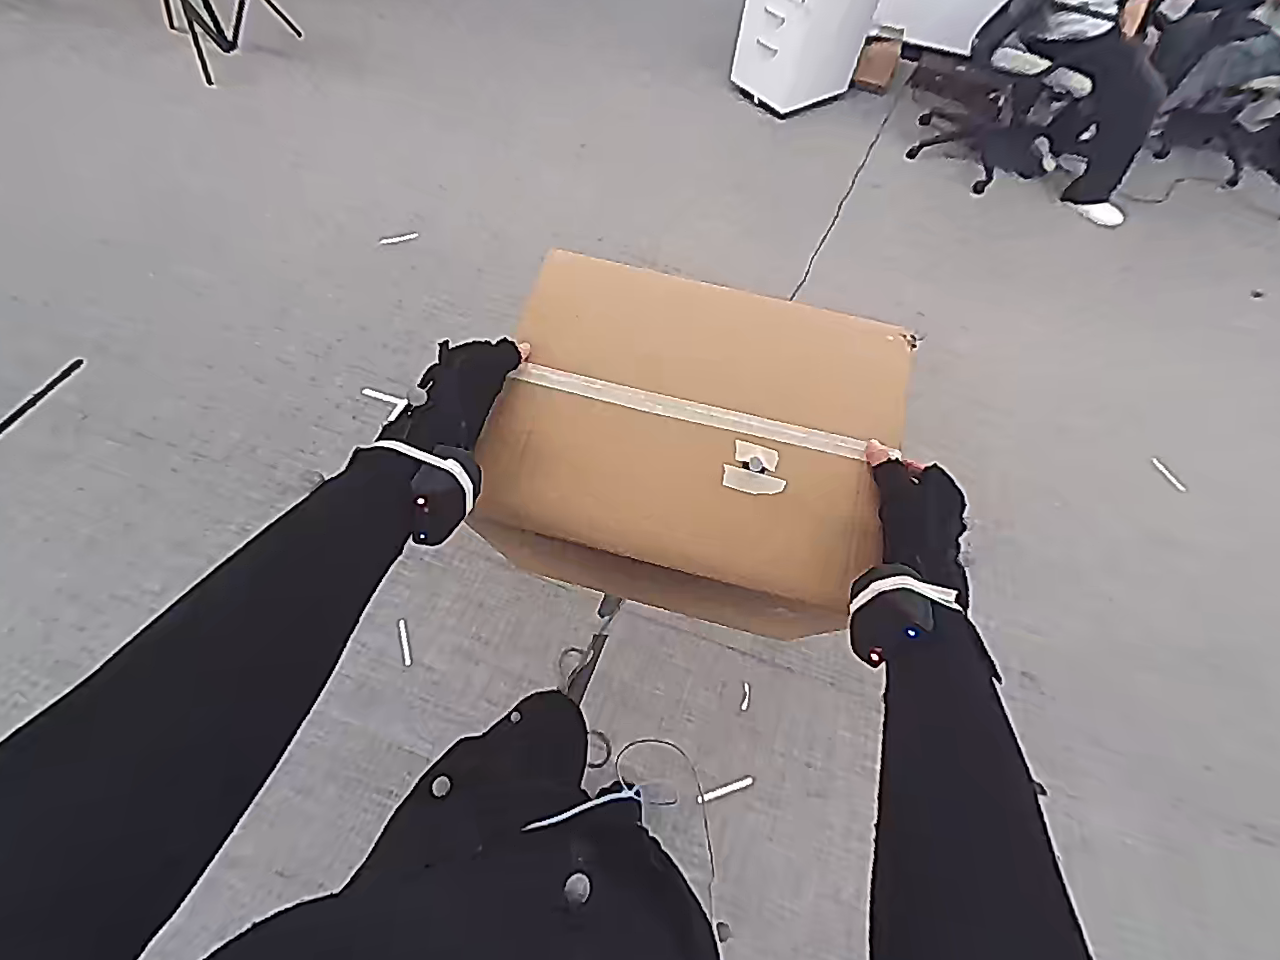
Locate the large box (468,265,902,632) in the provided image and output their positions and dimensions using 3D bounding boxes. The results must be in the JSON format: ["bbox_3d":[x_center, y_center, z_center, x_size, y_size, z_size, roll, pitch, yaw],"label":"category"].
[{"bbox_3d":[0.055,-0.014,0.694,0.408,0.320,0.320,14,72,4],"label":"large box"}]
